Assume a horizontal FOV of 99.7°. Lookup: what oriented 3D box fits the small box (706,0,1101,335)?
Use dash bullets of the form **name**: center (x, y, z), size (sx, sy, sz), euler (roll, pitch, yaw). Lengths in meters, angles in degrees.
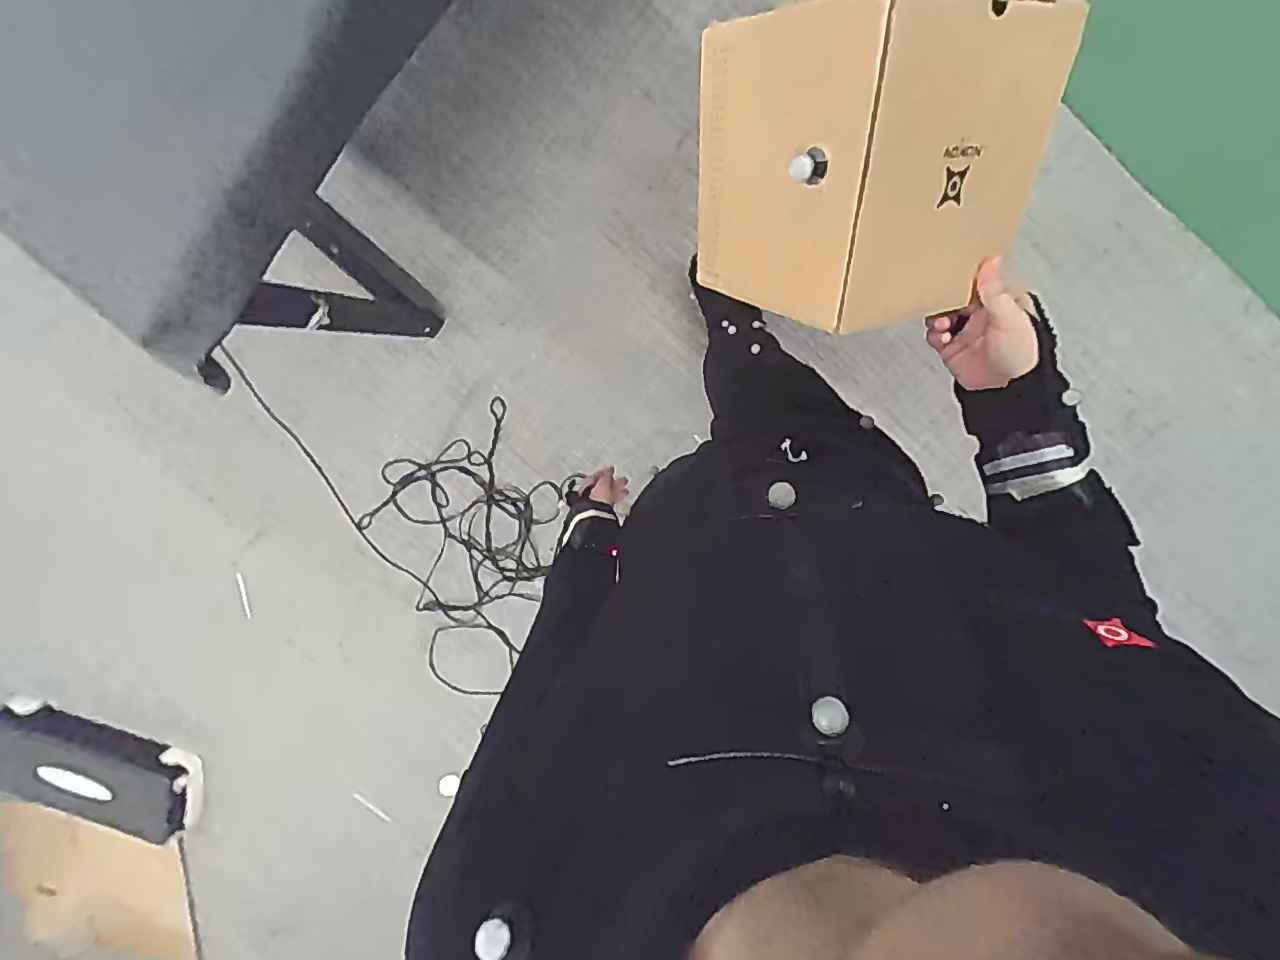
- **small box**: center (0.160, -0.223, 0.390), size (0.168, 0.176, 0.179), euler (-17, 125, -22)
